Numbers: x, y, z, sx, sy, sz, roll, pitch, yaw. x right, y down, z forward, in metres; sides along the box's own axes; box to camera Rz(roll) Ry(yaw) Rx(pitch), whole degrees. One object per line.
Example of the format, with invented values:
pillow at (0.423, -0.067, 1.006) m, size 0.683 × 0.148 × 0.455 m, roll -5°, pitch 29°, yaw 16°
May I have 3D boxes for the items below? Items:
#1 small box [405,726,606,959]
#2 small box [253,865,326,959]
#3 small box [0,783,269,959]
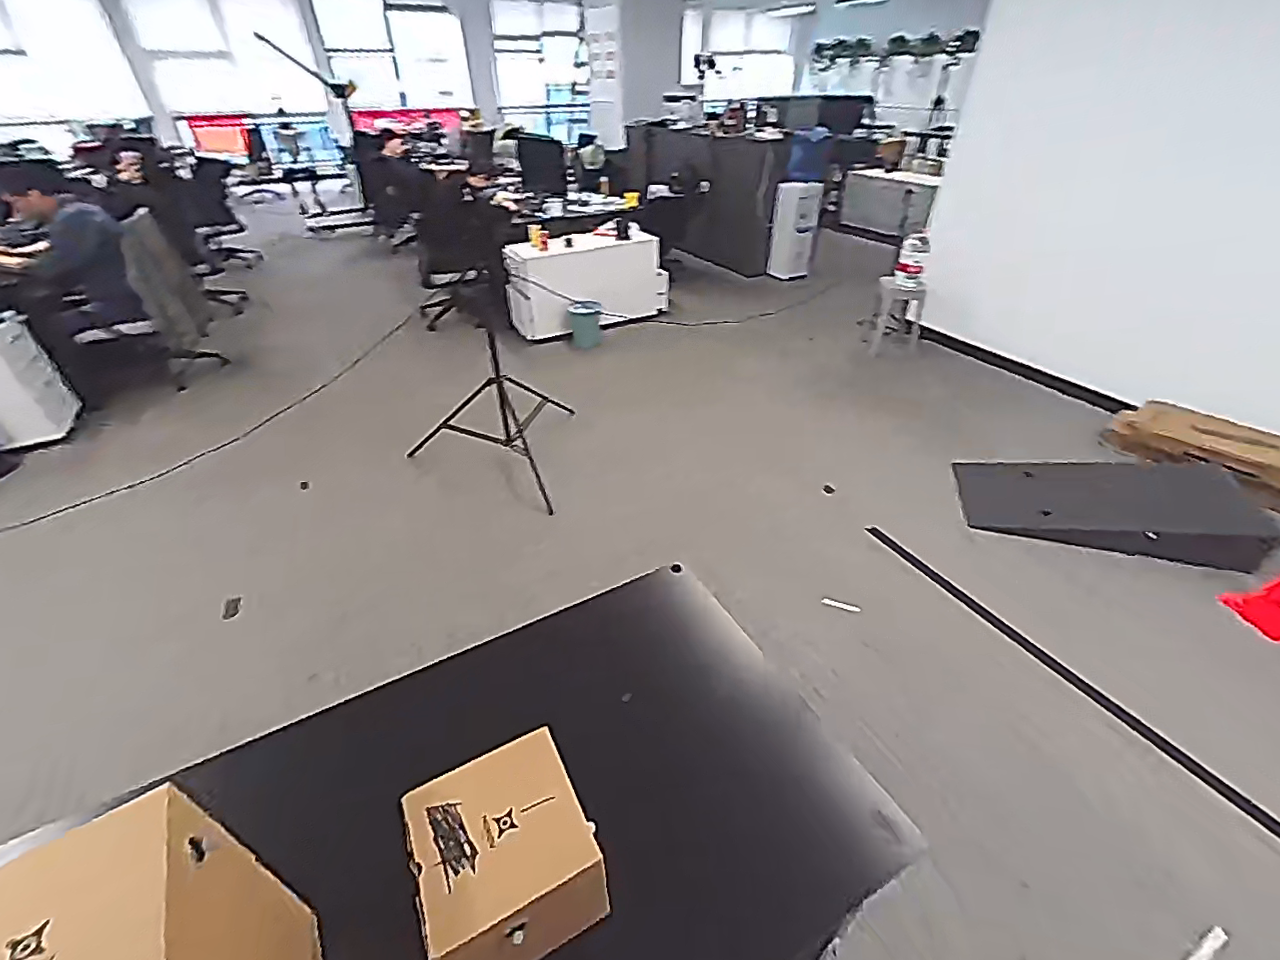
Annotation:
small box at (-0.152, 0.439, 0.634) m, size 0.179 × 0.176 × 0.168 m, roll -18°, pitch 39°, yaw -23°
small box at (-0.412, 0.530, 0.517) m, size 0.168 × 0.176 × 0.179 m, roll -22°, pitch 41°, yaw -25°
small box at (-0.417, 0.394, 0.423) m, size 0.168 × 0.176 × 0.179 m, roll -23°, pitch 41°, yaw -27°
